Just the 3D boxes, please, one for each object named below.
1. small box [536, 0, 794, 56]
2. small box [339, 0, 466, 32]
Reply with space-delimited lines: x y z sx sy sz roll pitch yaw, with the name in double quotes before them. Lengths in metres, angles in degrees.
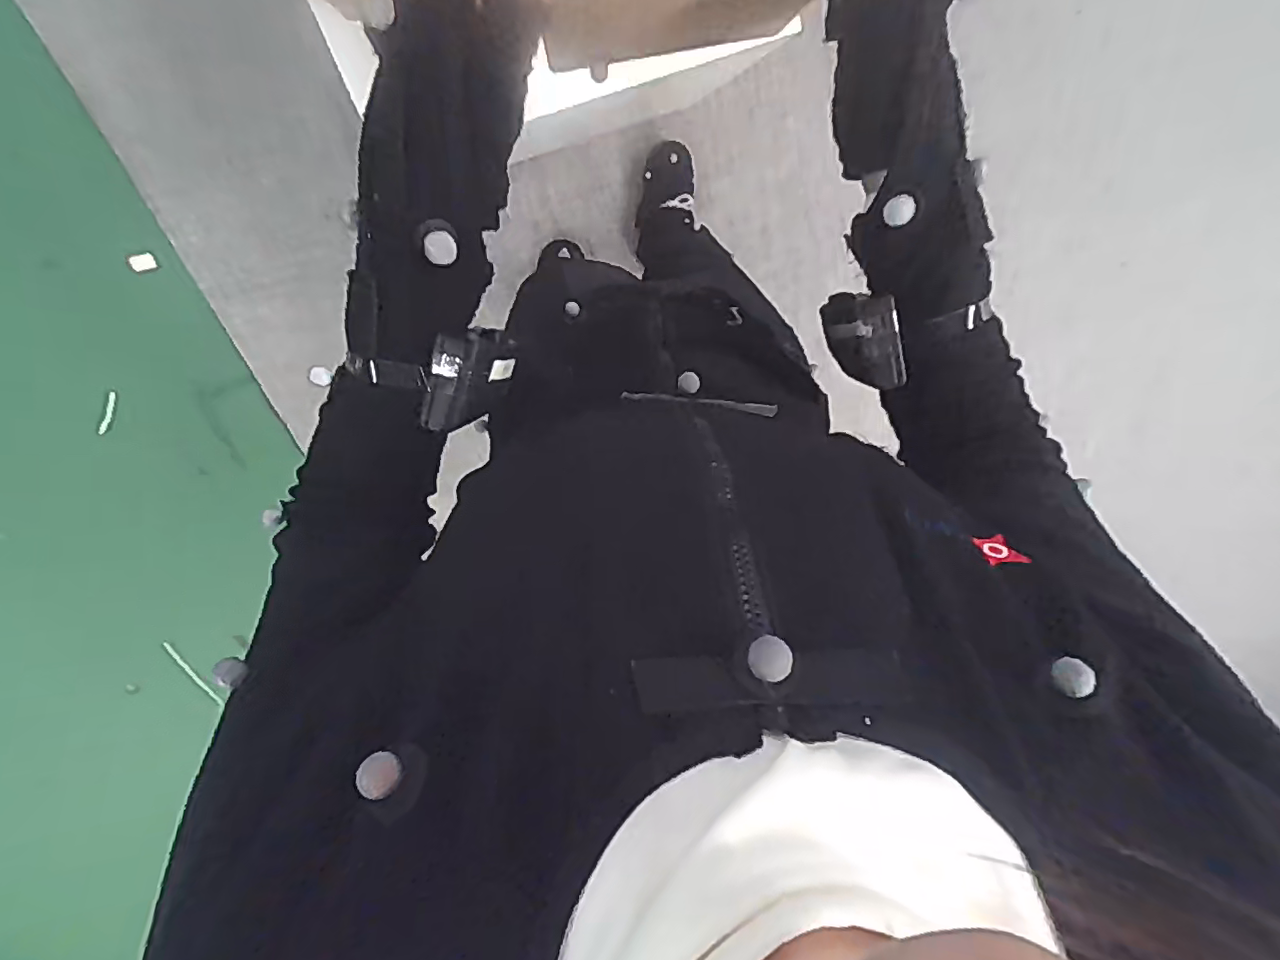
"small box" 0.012 -0.346 0.271 0.168 0.176 0.179 -11 114 0
"small box" -0.230 -0.532 0.460 0.168 0.176 0.179 -19 120 2
